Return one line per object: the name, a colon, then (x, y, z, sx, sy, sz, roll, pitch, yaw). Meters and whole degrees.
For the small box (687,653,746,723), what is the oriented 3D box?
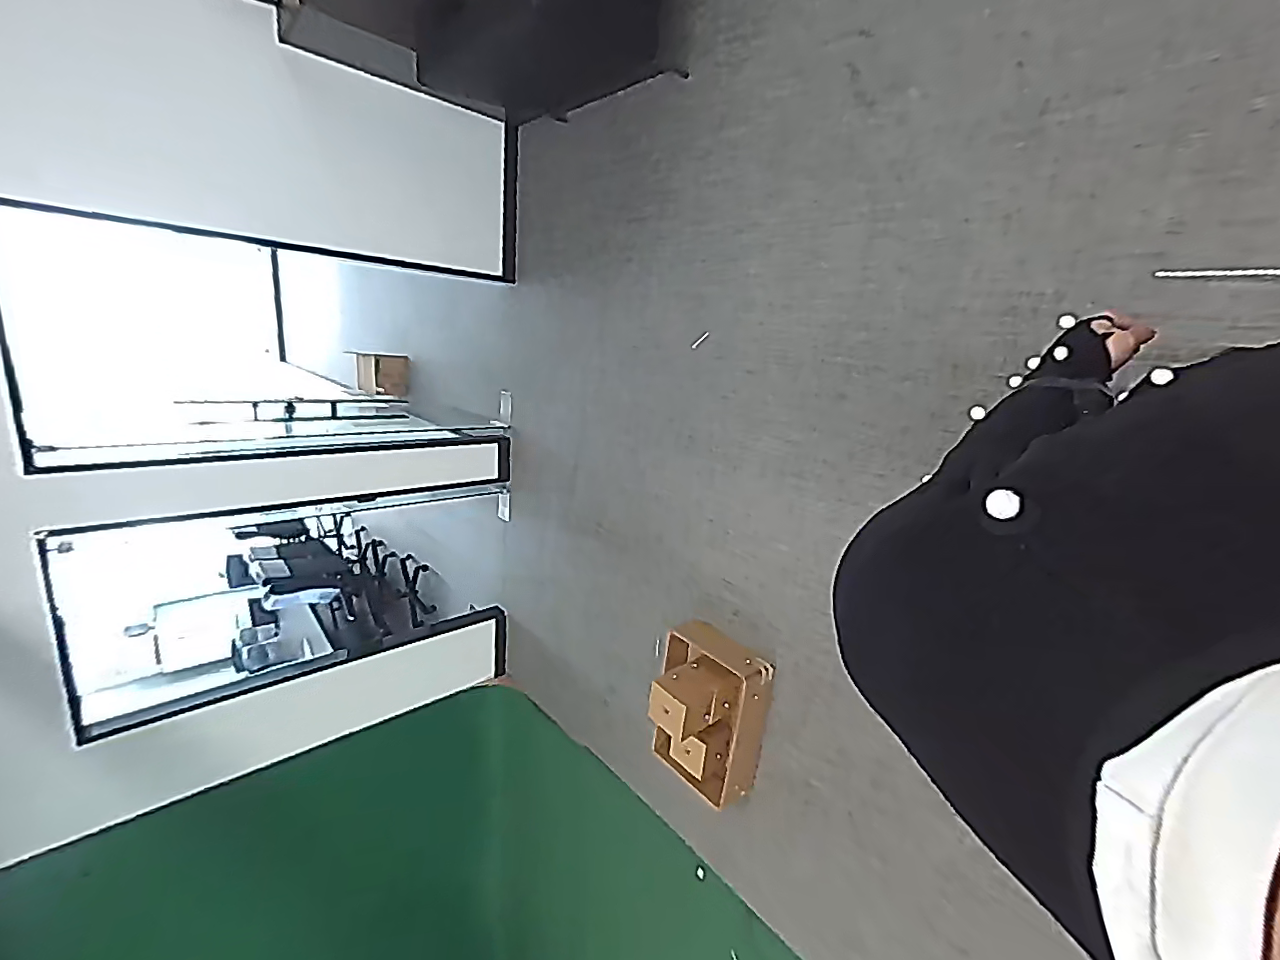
small box: (0.298, 0.811, 2.133, 0.179, 0.176, 0.168, 20, 111, 44)

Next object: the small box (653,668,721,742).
small box: (0.175, 0.831, 2.026, 0.179, 0.176, 0.168, 23, 114, 43)

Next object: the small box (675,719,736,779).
small box: (0.269, 1.063, 2.199, 0.179, 0.176, 0.168, 20, 110, 44)
